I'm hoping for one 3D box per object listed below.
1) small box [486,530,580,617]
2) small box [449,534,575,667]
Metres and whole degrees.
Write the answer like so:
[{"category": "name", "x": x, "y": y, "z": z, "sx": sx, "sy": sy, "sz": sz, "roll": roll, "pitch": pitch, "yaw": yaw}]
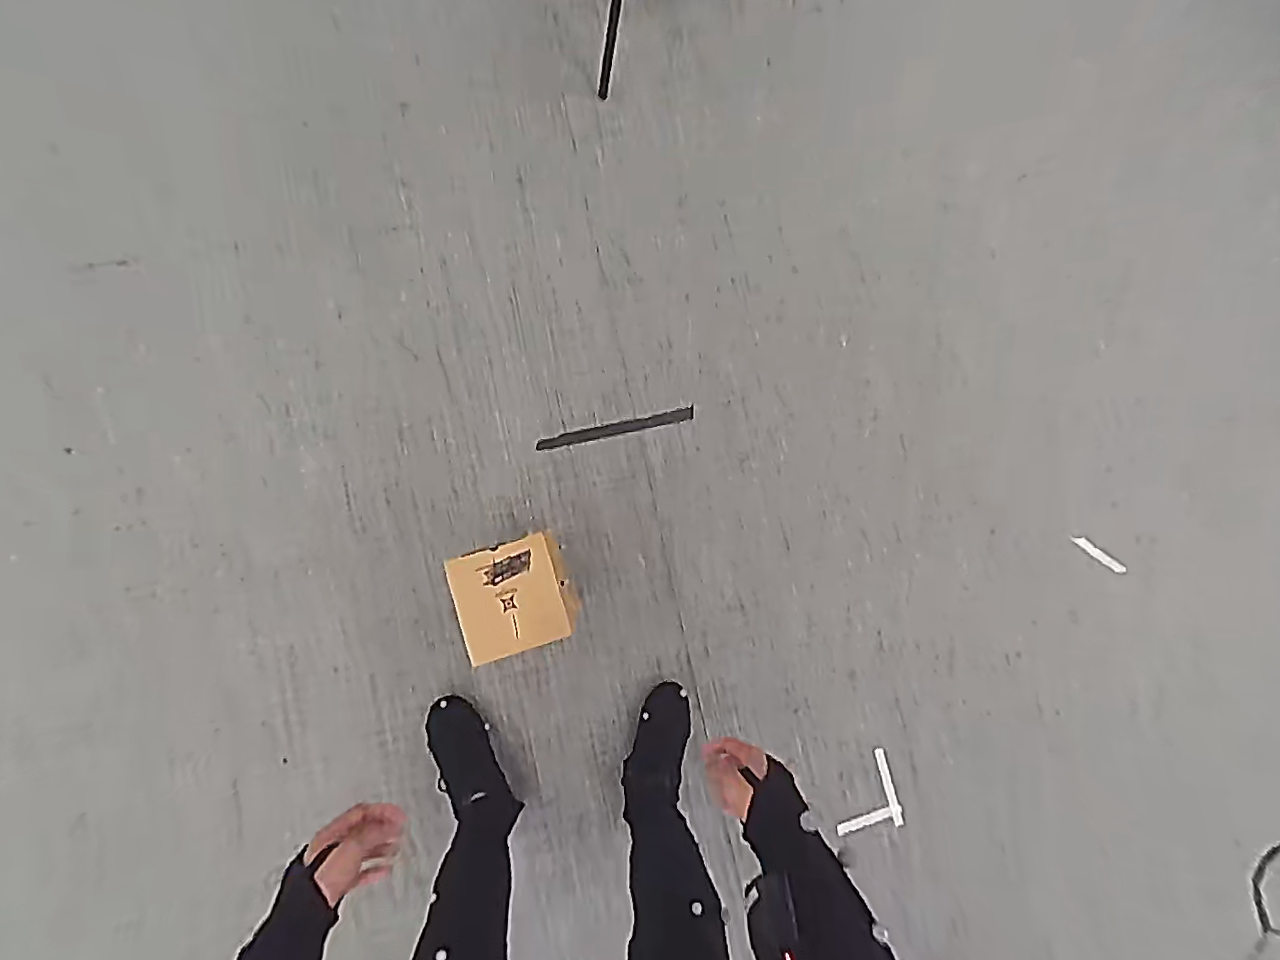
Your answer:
[{"category": "small box", "x": -0.227, "y": 0.209, "z": 1.105, "sx": 0.168, "sy": 0.176, "sz": 0.179, "roll": -18, "pitch": 87, "yaw": -8}, {"category": "small box", "x": -0.215, "y": 0.199, "z": 0.942, "sx": 0.168, "sy": 0.176, "sz": 0.179, "roll": -16, "pitch": 87, "yaw": -7}]
